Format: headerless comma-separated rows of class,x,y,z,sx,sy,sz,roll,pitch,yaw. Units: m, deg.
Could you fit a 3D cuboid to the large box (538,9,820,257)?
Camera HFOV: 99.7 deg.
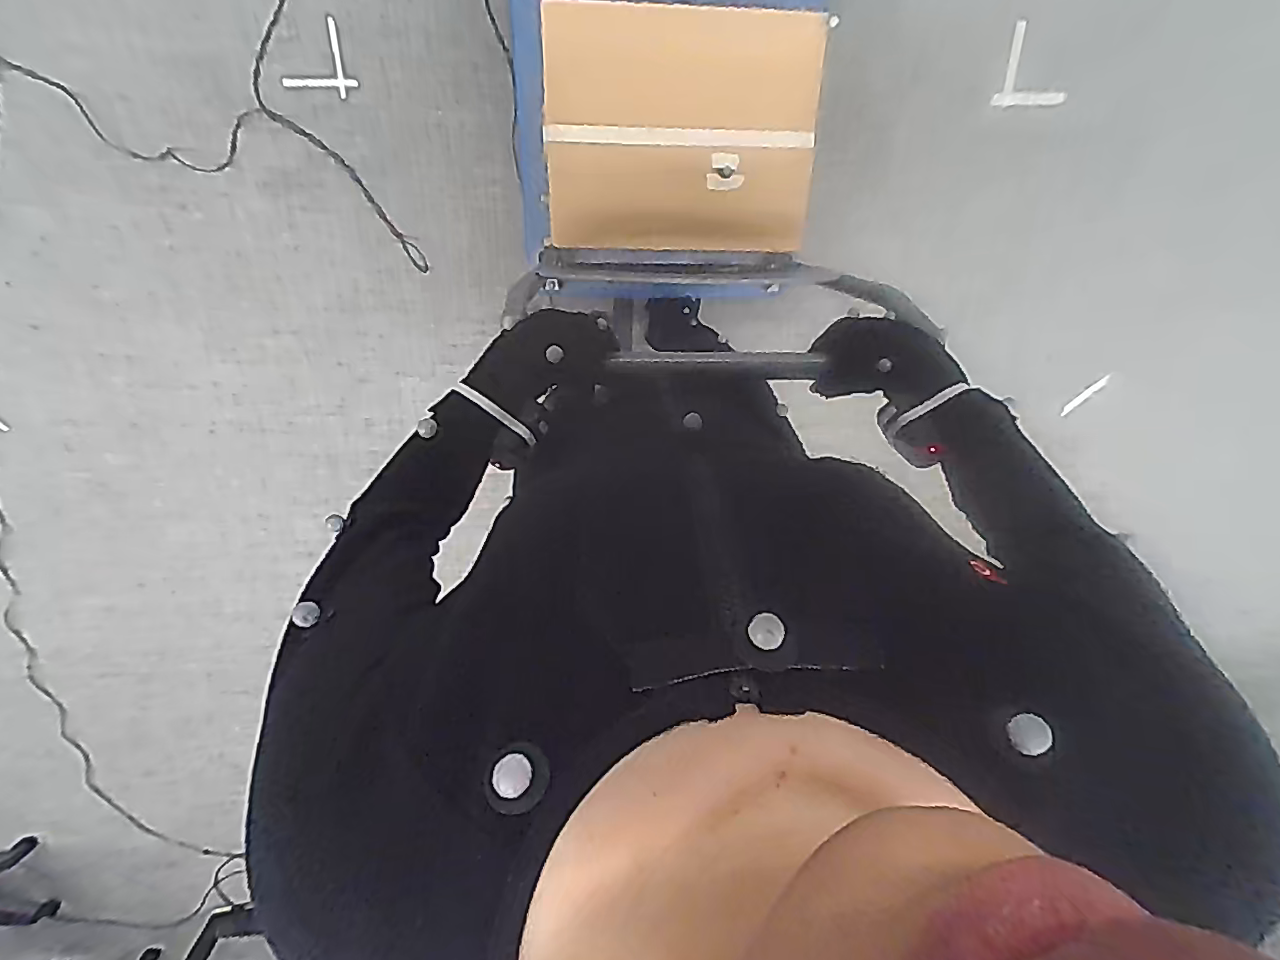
large box,0.044,-0.560,0.943,0.408,0.320,0.320,-1,114,-5
